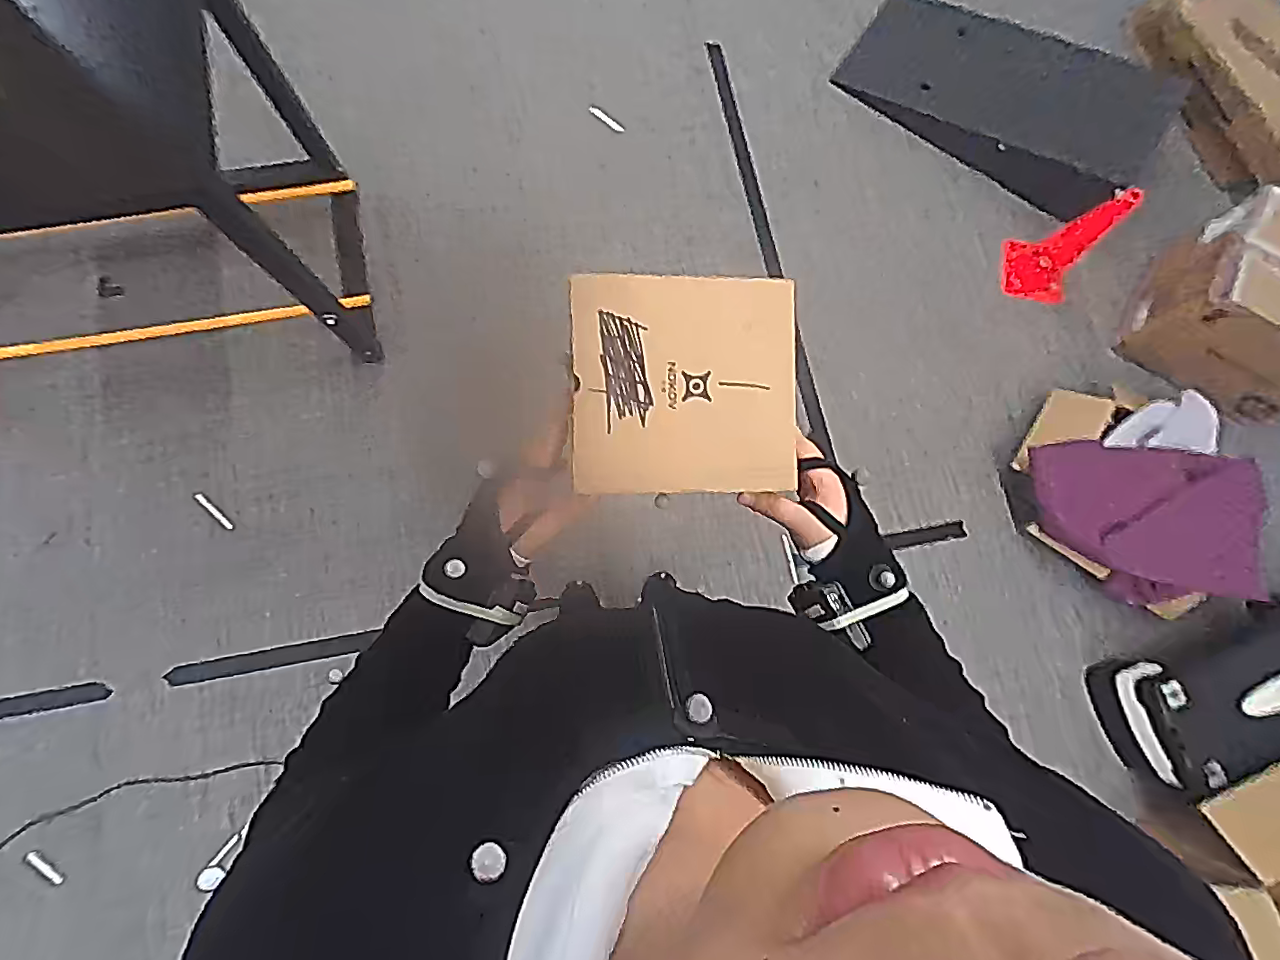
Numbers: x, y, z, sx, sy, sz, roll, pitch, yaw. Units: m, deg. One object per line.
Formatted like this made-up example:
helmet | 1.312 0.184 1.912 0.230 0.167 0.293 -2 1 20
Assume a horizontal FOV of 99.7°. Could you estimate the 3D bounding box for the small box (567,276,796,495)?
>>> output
small box | 0.026 -0.070 0.488 0.179 0.176 0.168 -1 90 -7
